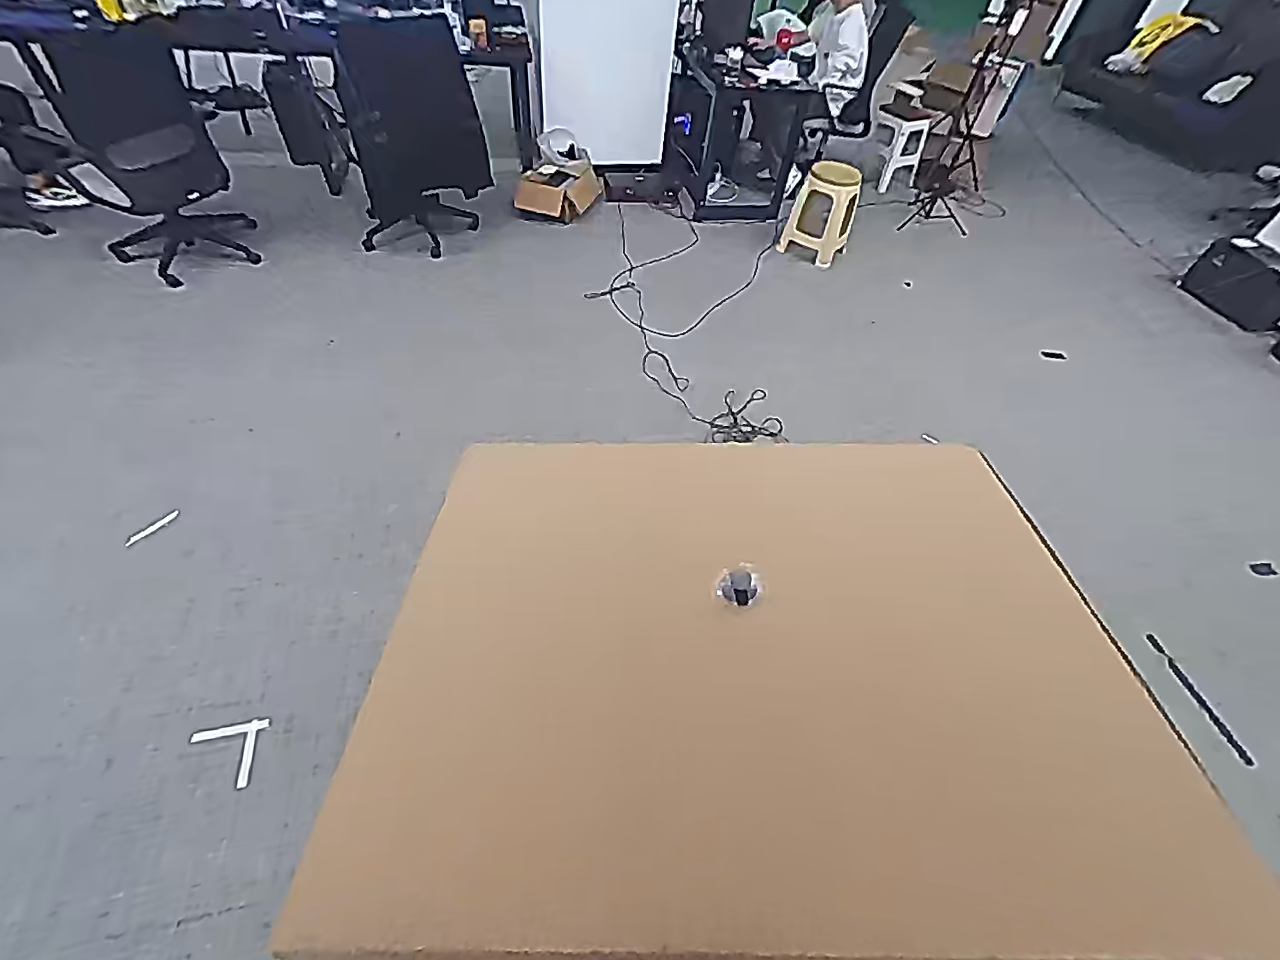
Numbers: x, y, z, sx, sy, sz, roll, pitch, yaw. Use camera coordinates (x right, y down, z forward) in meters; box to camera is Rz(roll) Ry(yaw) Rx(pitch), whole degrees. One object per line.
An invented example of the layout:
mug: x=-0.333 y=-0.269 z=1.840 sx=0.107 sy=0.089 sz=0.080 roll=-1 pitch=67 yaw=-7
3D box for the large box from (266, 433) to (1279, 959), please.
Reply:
large box: x=0.050 y=0.181 z=0.419 sx=0.408 sy=0.320 sz=0.320 roll=-2 pitch=45 yaw=1
